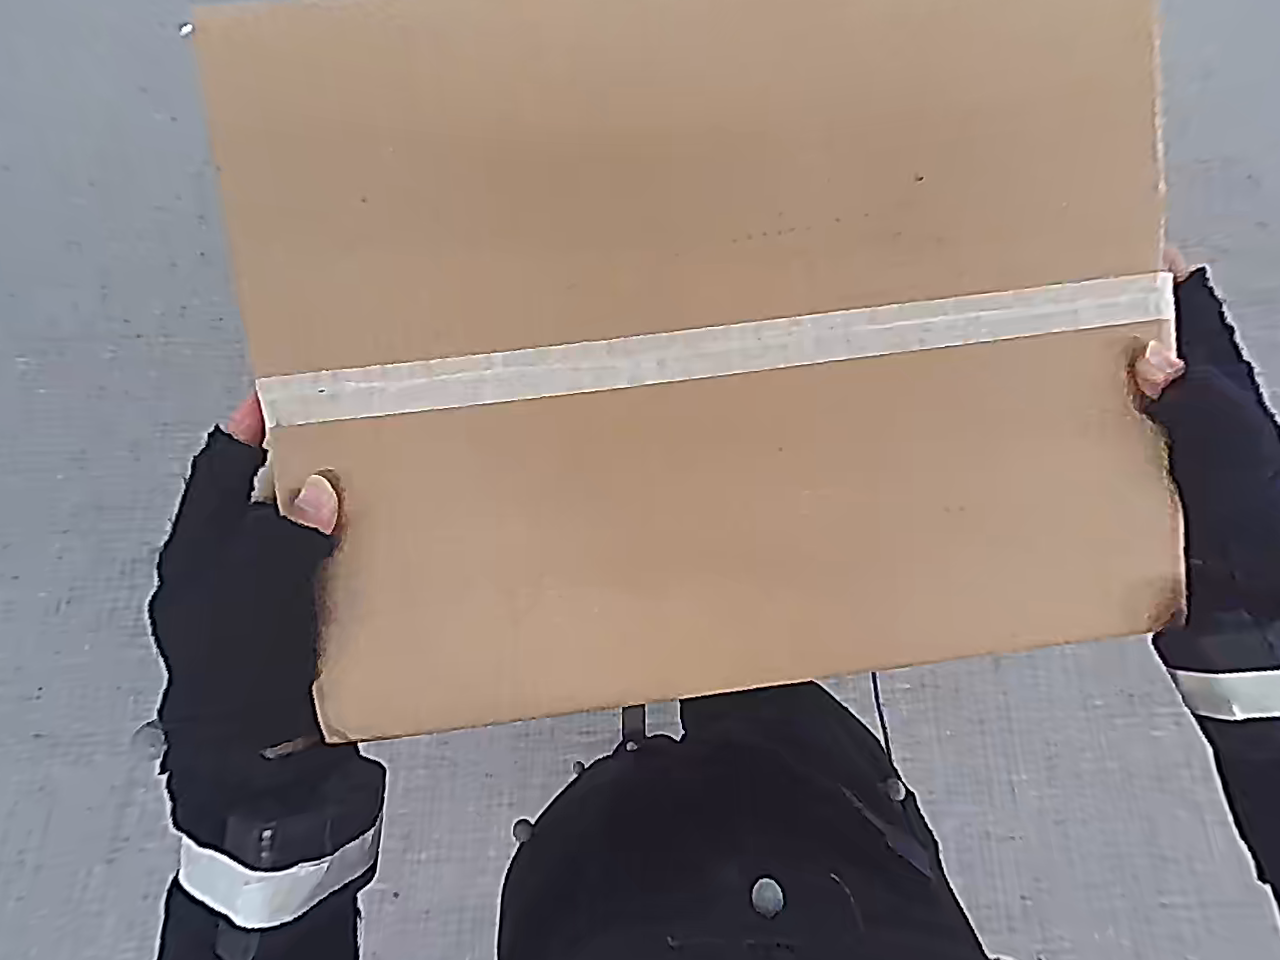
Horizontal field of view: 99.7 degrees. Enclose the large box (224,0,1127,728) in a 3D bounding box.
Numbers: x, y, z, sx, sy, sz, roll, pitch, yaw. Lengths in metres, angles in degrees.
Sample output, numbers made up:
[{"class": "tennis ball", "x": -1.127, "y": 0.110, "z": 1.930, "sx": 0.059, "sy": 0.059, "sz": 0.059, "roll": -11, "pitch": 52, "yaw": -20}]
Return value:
[{"class": "large box", "x": 0.029, "y": -0.070, "z": 0.400, "sx": 0.408, "sy": 0.320, "sz": 0.320, "roll": -7, "pitch": 95, "yaw": -2}]
